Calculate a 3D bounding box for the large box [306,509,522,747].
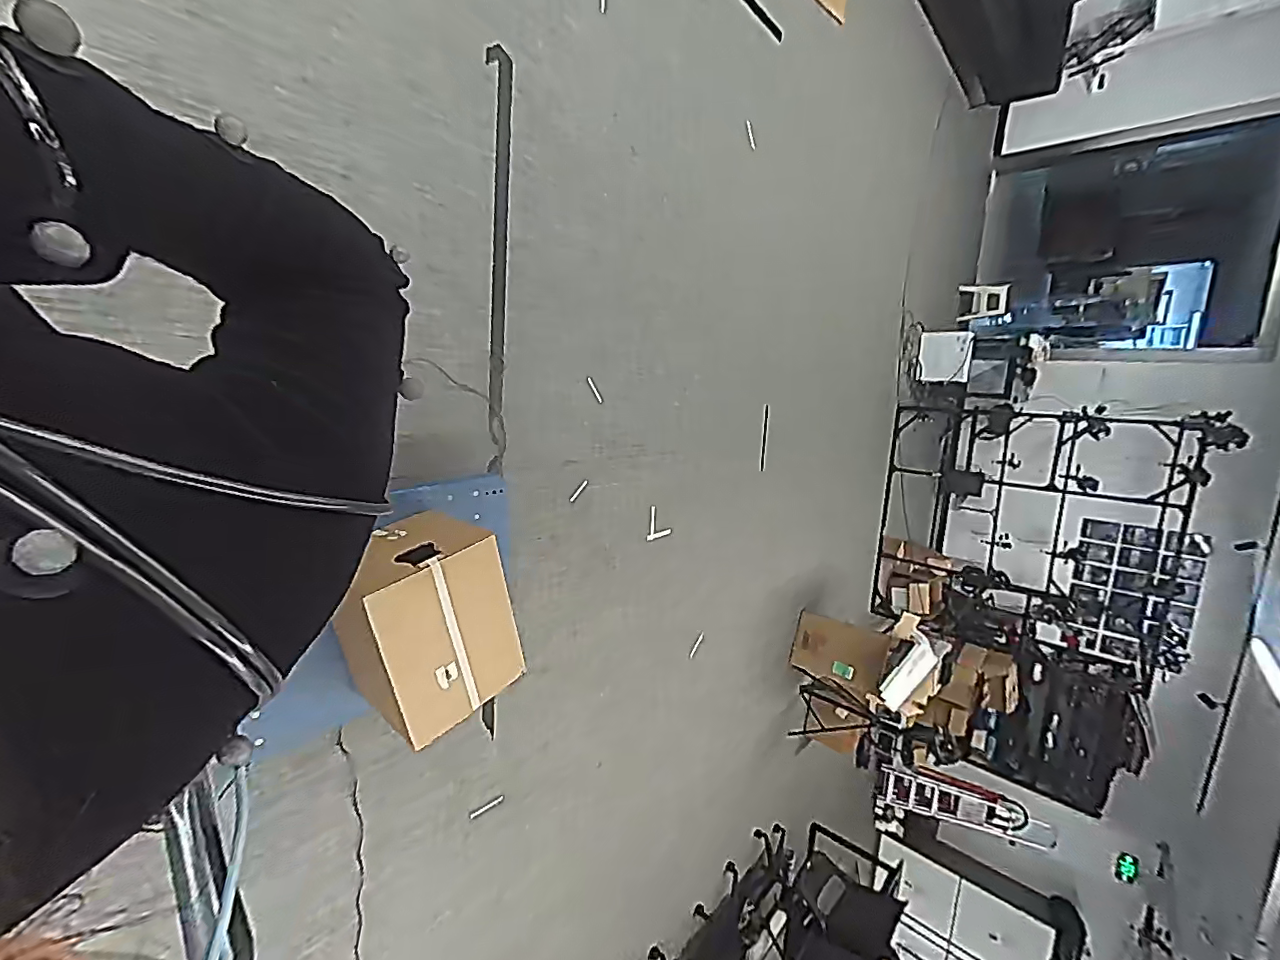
[{"bbox_3d":[-0.536,0.332,1.313,0.320,0.320,0.408,-27,119,-42],"label":"large box"}]
